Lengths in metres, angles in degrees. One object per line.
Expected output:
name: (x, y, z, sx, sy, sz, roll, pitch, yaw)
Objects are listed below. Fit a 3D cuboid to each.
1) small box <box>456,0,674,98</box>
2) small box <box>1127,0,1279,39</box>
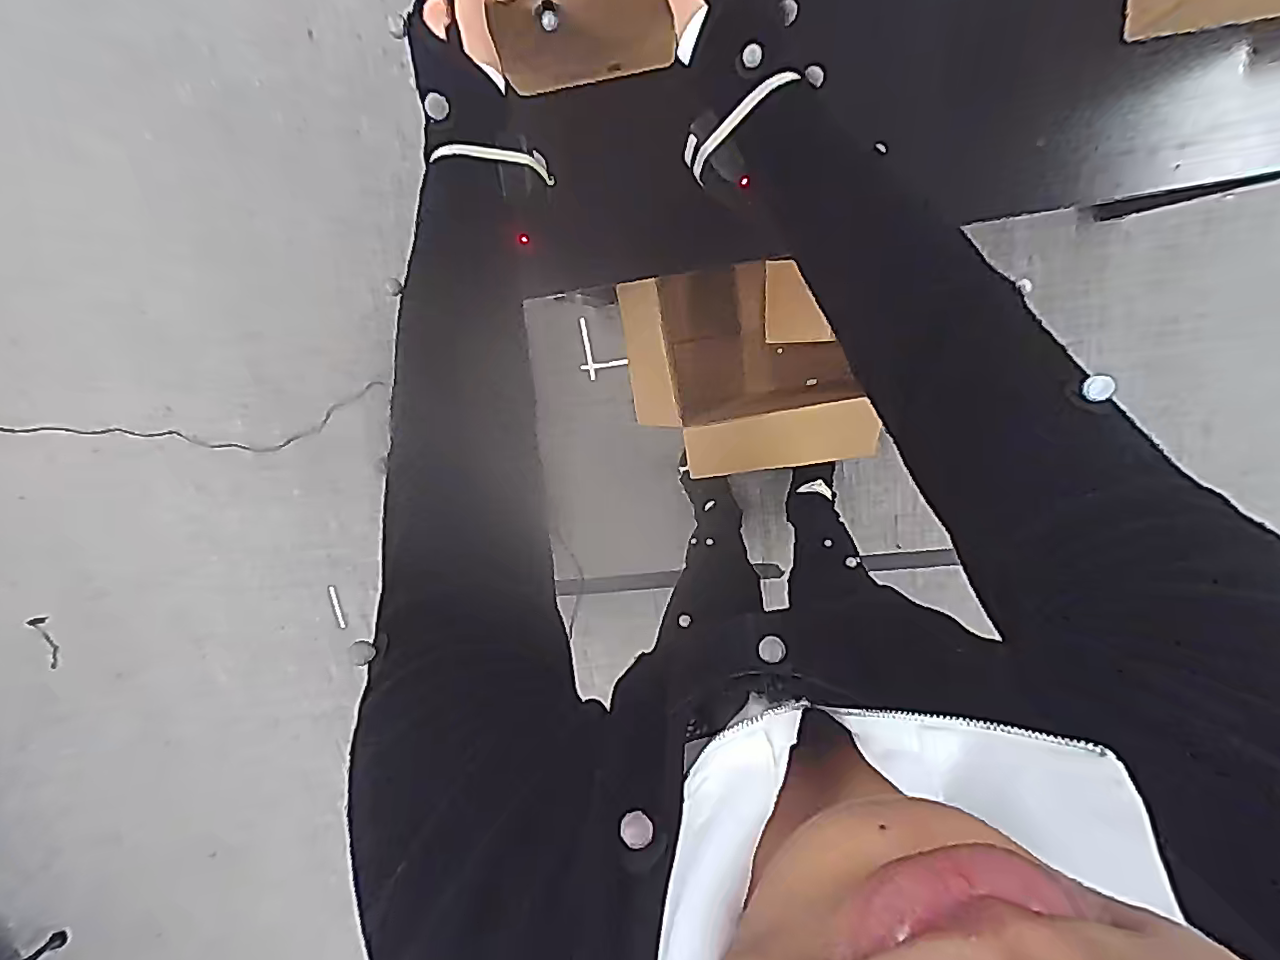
small box: (-0.063, -0.464, 0.454, 0.168, 0.176, 0.179, -7, 106, 6)
small box: (0.523, -0.474, 0.405, 0.179, 0.176, 0.168, -6, 105, 5)
